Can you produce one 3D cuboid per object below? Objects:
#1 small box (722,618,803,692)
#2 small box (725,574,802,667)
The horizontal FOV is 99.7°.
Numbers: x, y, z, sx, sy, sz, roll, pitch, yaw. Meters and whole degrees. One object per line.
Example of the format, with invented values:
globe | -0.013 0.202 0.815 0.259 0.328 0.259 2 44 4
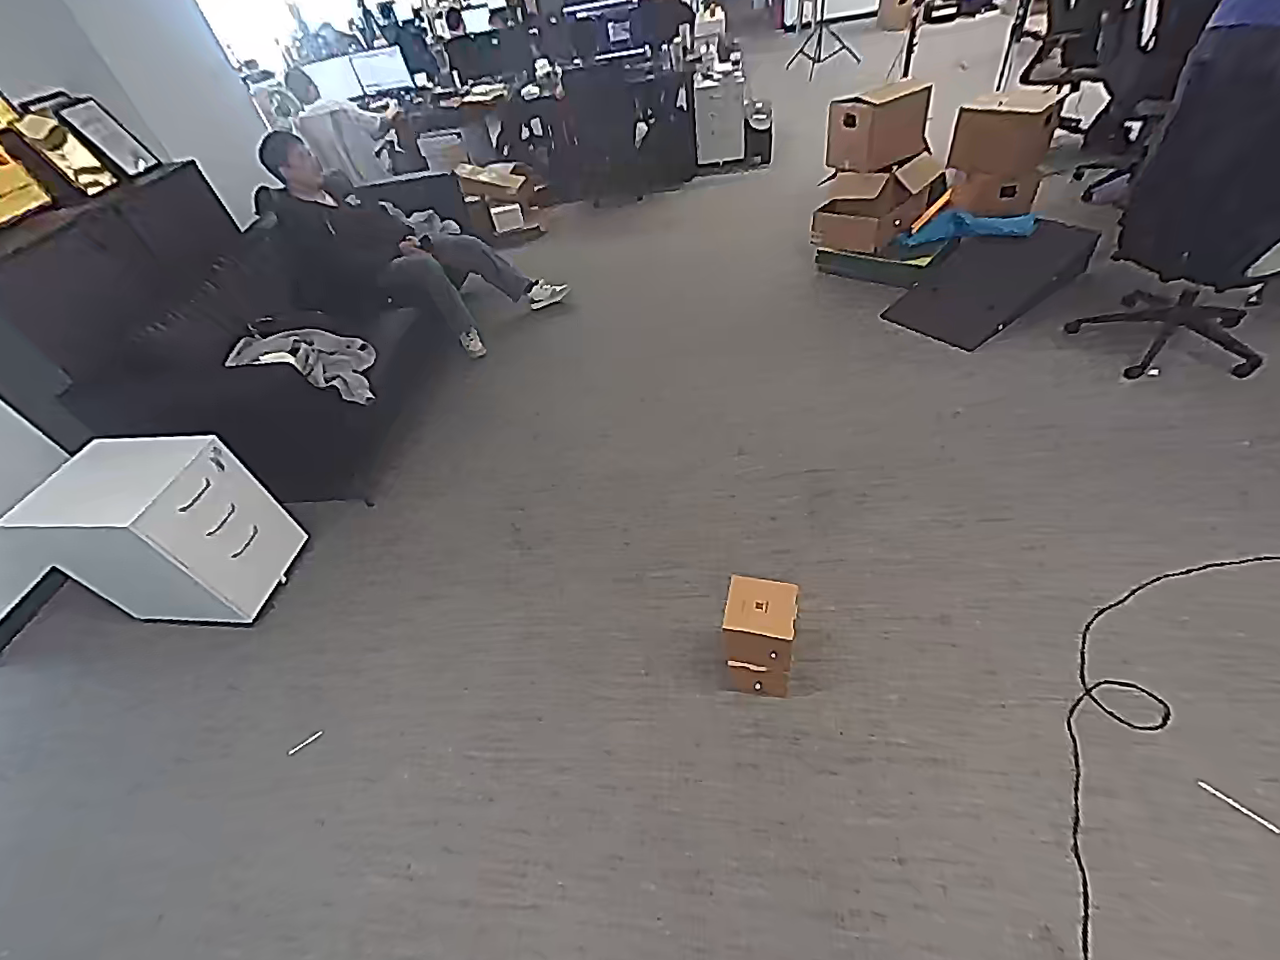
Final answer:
small box | 0.355 0.481 1.561 0.179 0.176 0.168 -20 43 -5
small box | 0.332 0.378 1.447 0.179 0.176 0.168 5 46 19
